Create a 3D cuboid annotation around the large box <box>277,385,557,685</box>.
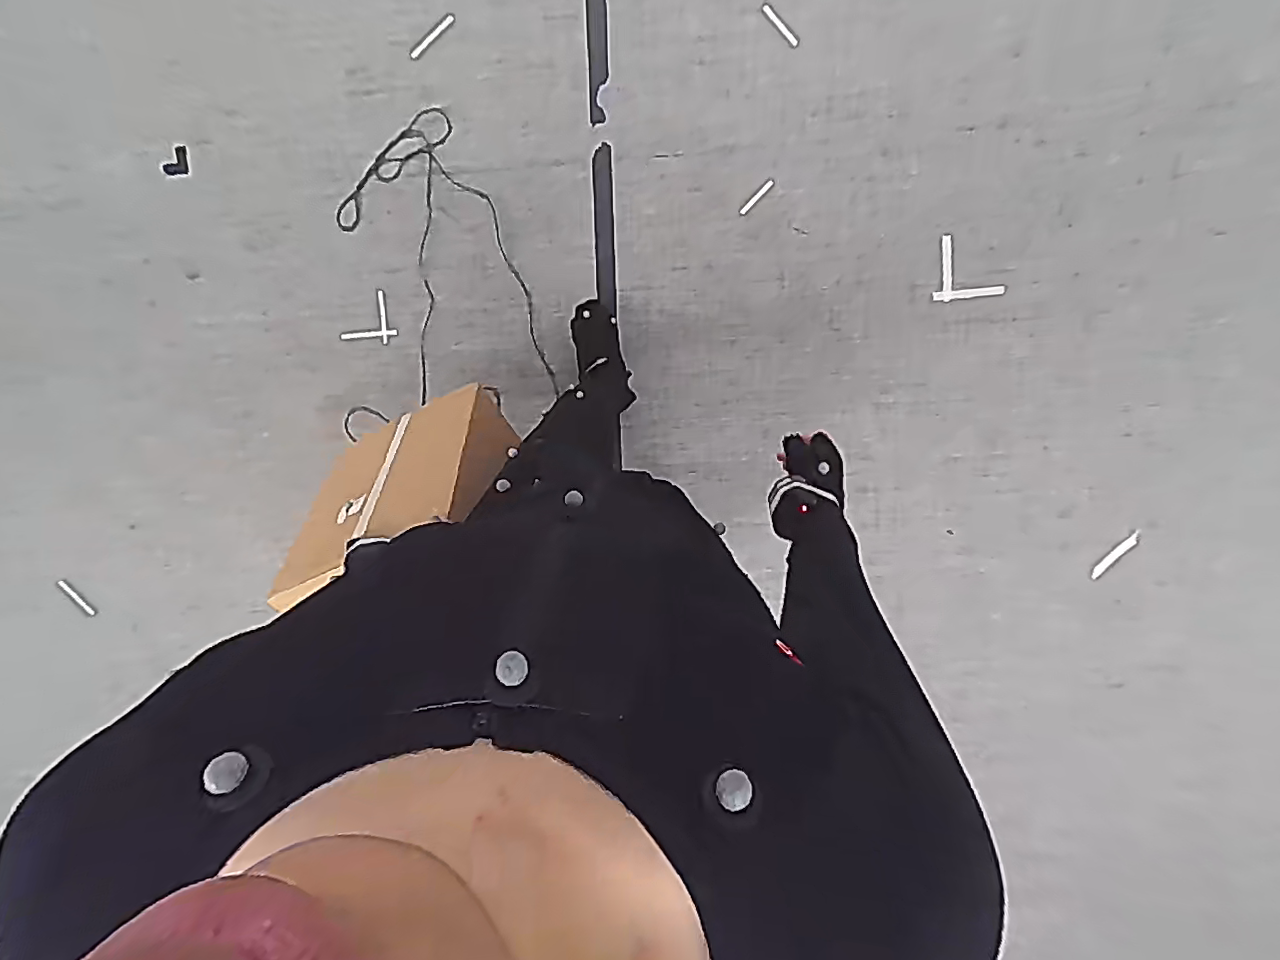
[{"bbox_3d":[-0.366,0.092,1.014,0.320,0.408,0.320,-25,127,9],"label":"large box"}]
